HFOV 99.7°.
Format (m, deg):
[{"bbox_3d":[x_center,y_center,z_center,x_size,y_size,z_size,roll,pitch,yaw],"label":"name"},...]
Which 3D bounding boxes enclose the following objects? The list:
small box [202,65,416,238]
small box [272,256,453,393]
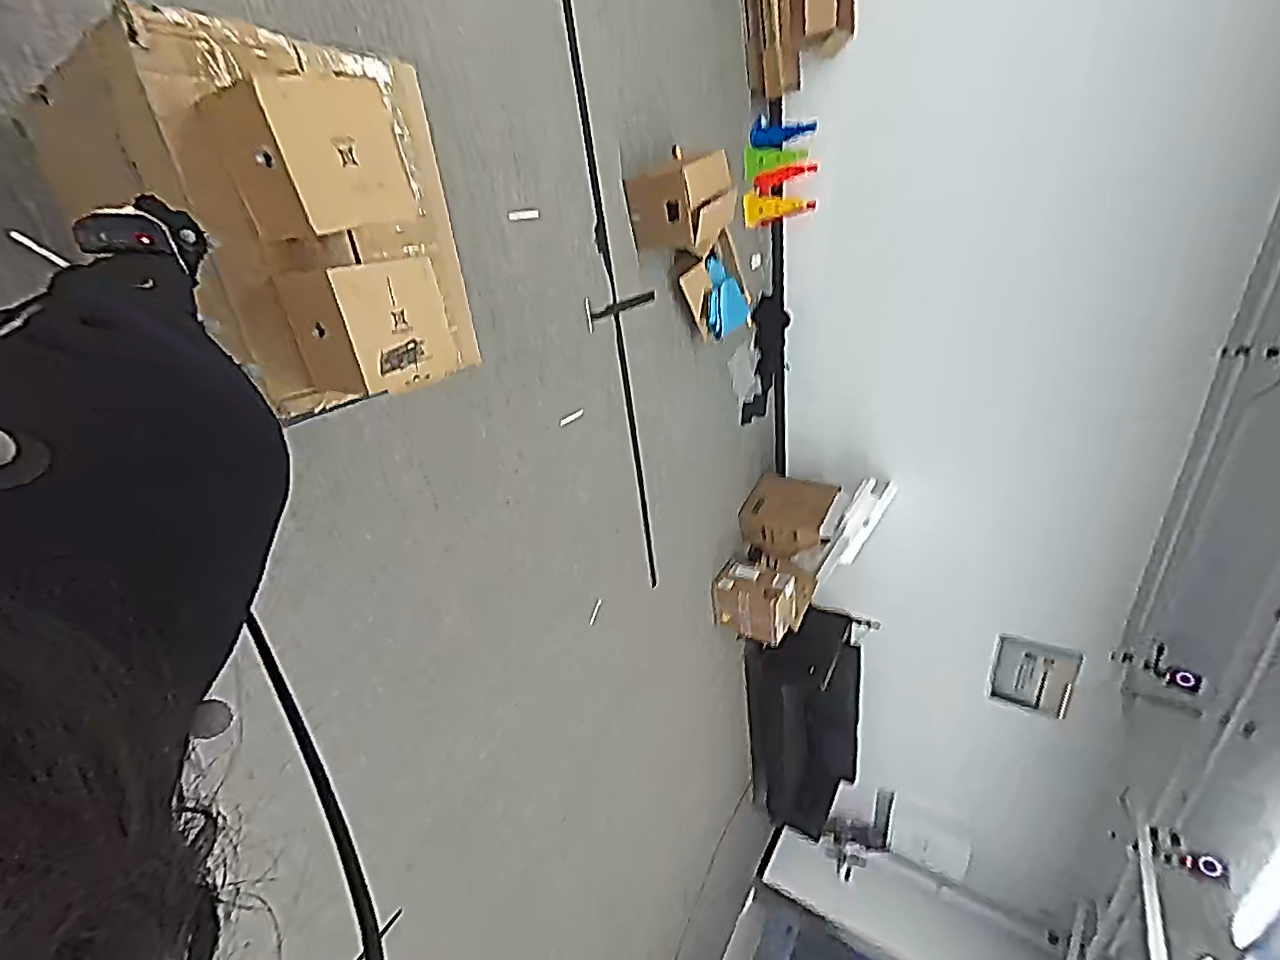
[{"bbox_3d":[-0.455,-0.446,0.751,0.168,0.176,0.179,-40,132,-43],"label":"small box"},{"bbox_3d":[-0.429,-0.245,0.847,0.168,0.176,0.179,-35,125,-47],"label":"small box"}]
